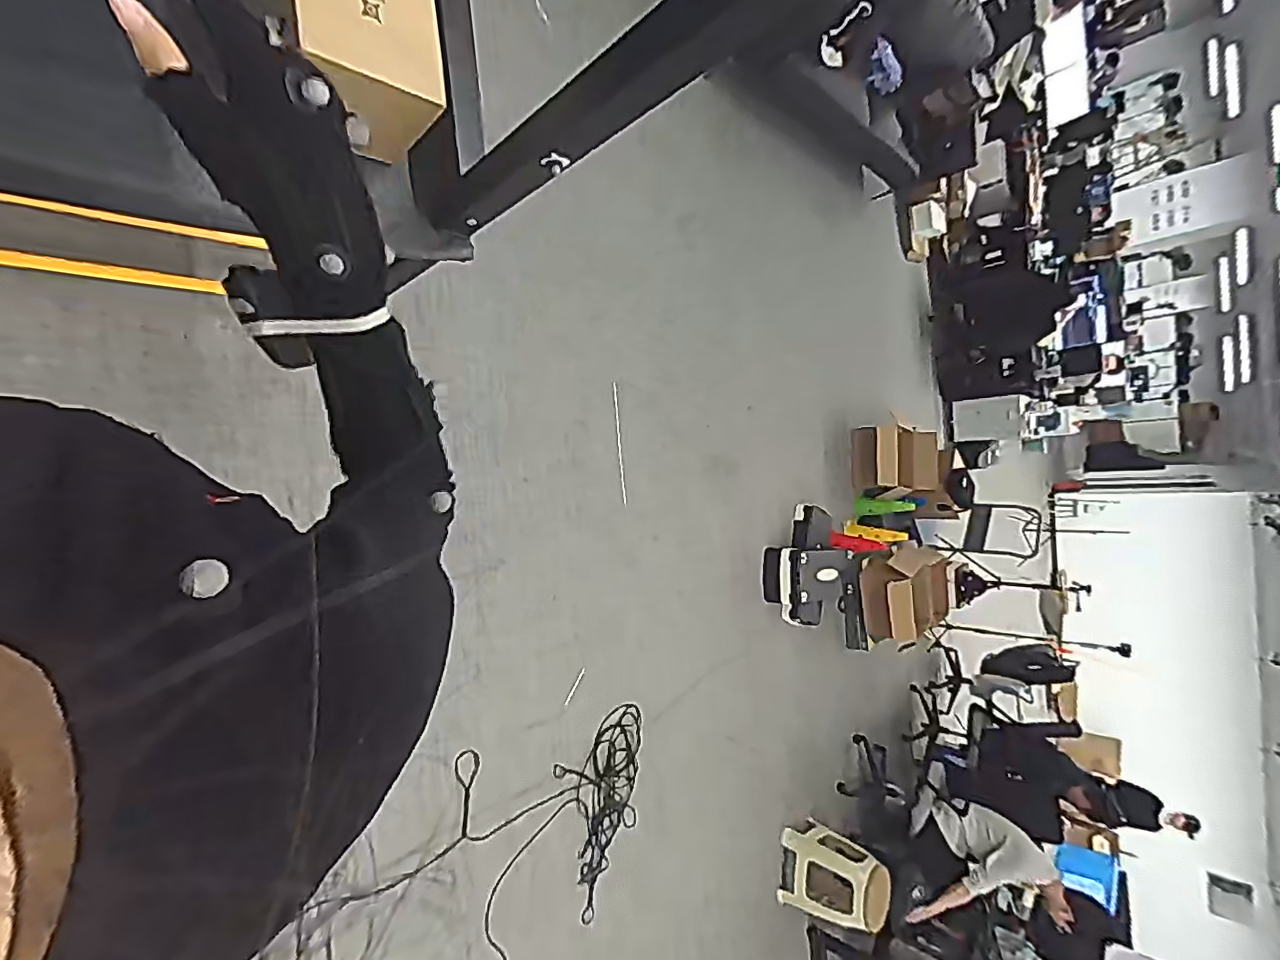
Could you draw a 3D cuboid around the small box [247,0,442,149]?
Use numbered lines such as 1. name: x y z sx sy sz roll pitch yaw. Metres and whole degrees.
1. small box: -0.371 -0.556 0.676 0.168 0.176 0.179 -9 95 -47
